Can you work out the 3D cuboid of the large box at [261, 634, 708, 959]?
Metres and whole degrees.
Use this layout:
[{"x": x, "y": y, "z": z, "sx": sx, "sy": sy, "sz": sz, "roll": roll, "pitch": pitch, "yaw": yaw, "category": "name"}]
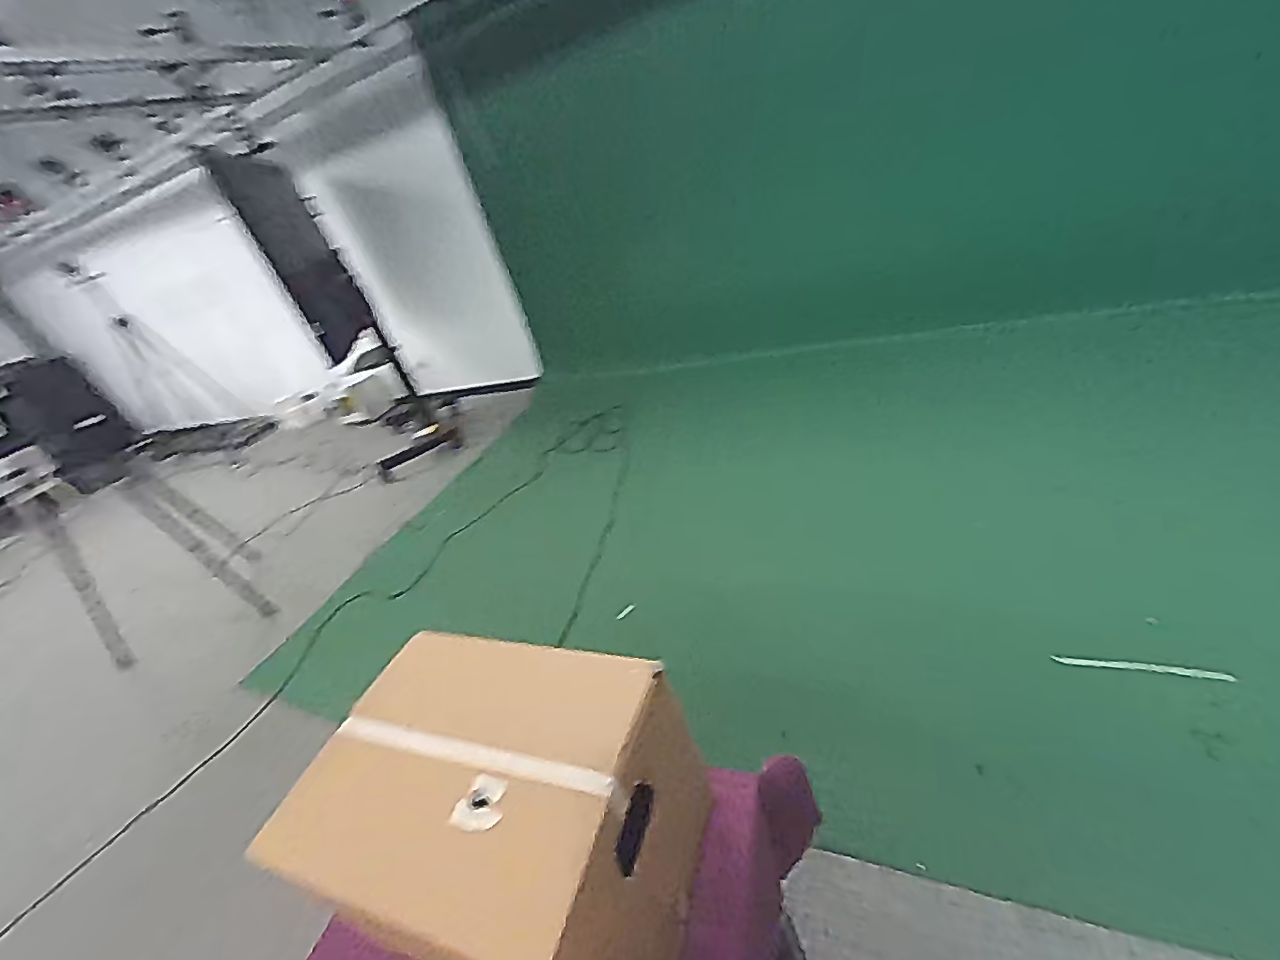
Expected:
[{"x": -0.161, "y": 0.438, "z": 0.712, "sx": 0.408, "sy": 0.320, "sz": 0.320, "roll": -1, "pitch": 35, "yaw": 25, "category": "large box"}]
